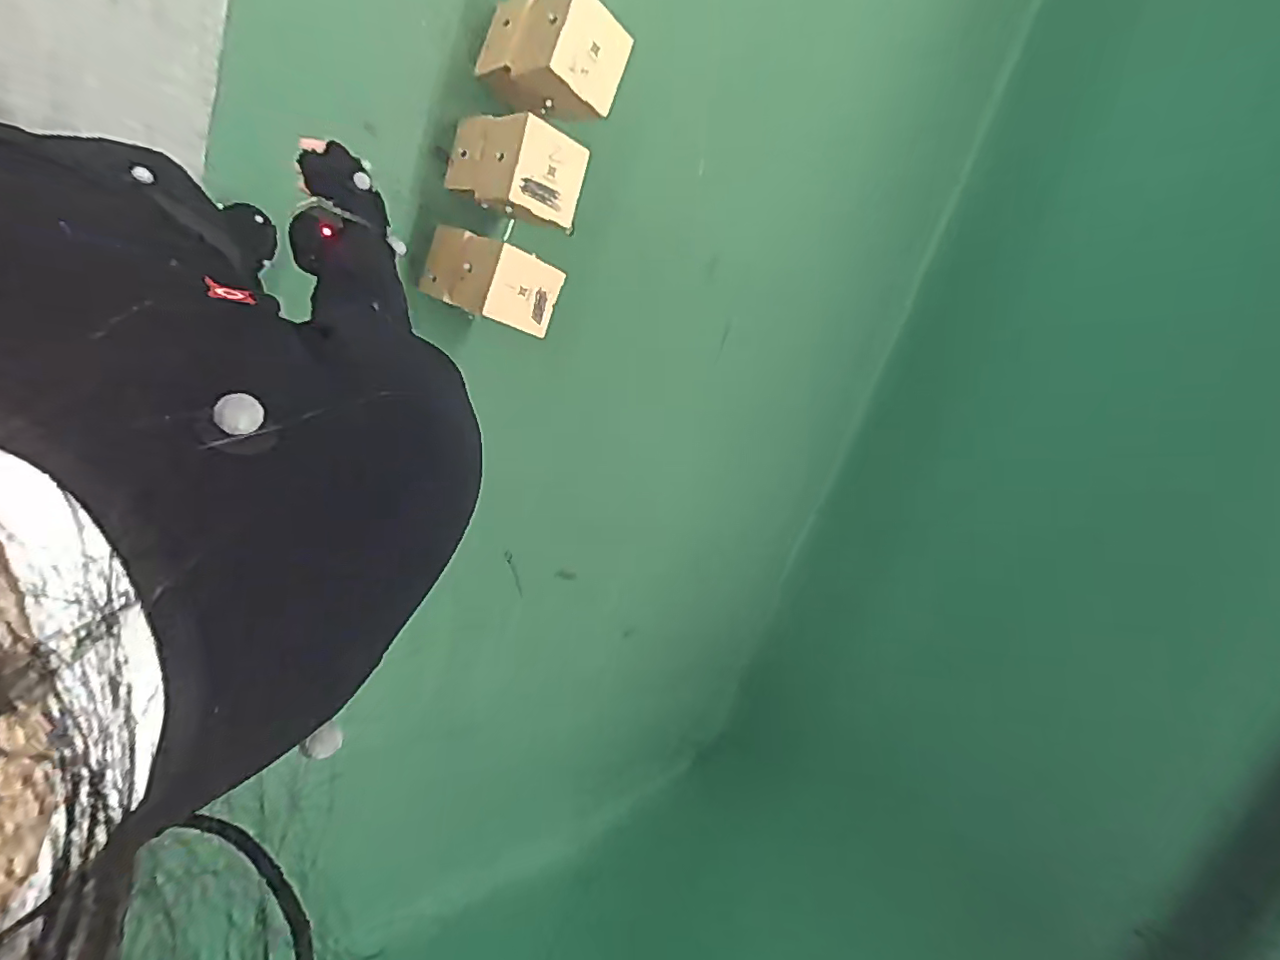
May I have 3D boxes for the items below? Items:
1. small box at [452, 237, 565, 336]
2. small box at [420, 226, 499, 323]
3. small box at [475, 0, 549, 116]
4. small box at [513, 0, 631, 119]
[{"bbox_3d":[-0.318,-0.466,1.298,0.179,0.176,0.168,11,104,-47],"label":"small box"},{"bbox_3d":[-0.441,-0.529,1.389,0.168,0.176,0.179,13,102,-47],"label":"small box"},{"bbox_3d":[-0.265,-1.006,1.293,0.179,0.176,0.168,16,100,-48],"label":"small box"},{"bbox_3d":[-0.155,-0.936,1.192,0.168,0.176,0.179,14,101,-47],"label":"small box"}]
